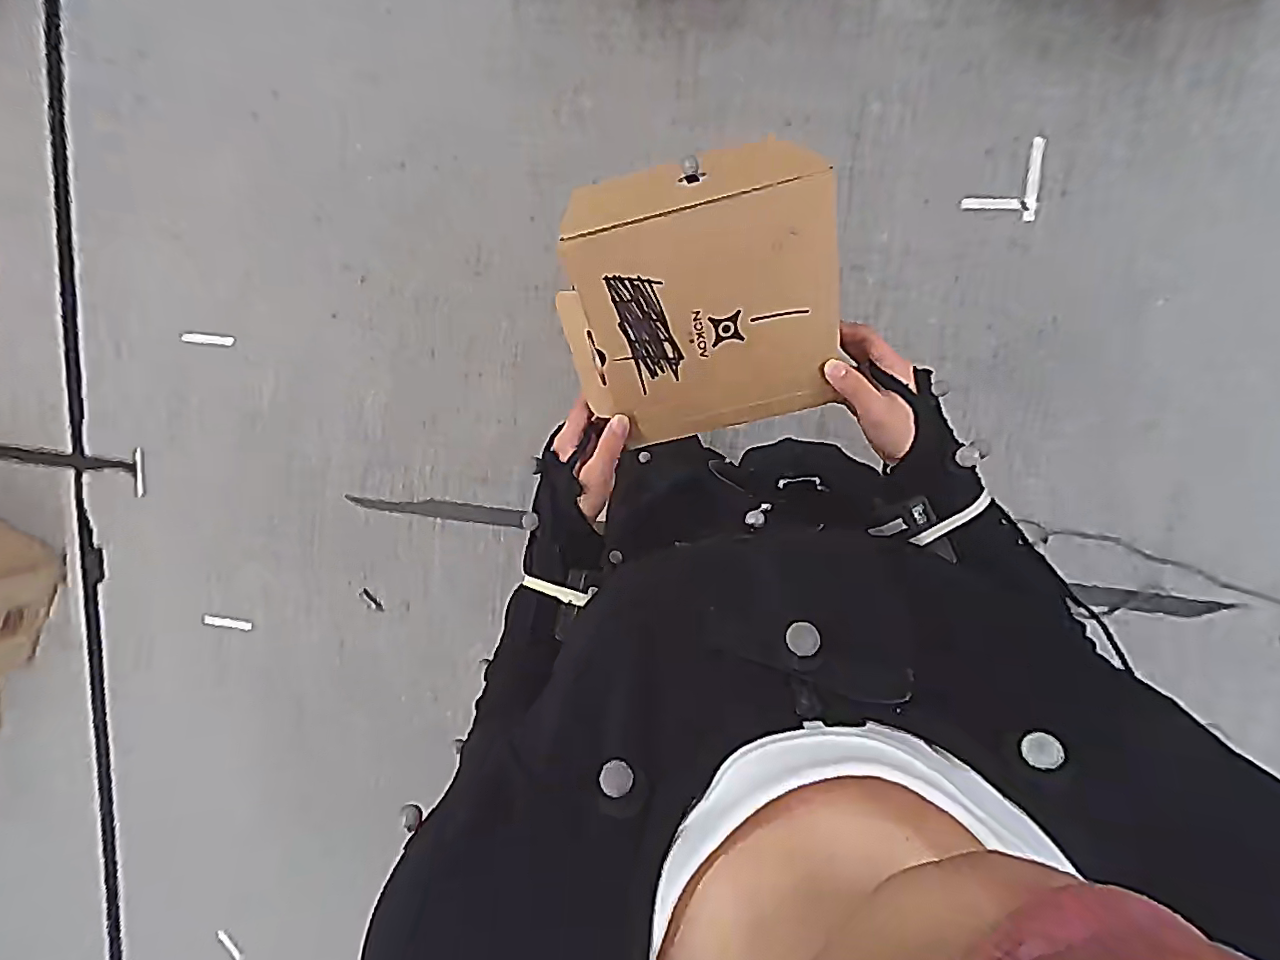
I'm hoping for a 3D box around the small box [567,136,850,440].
[{"bbox_3d":[0.053,-0.158,0.436,0.179,0.176,0.168,-12,127,6],"label":"small box"}]
